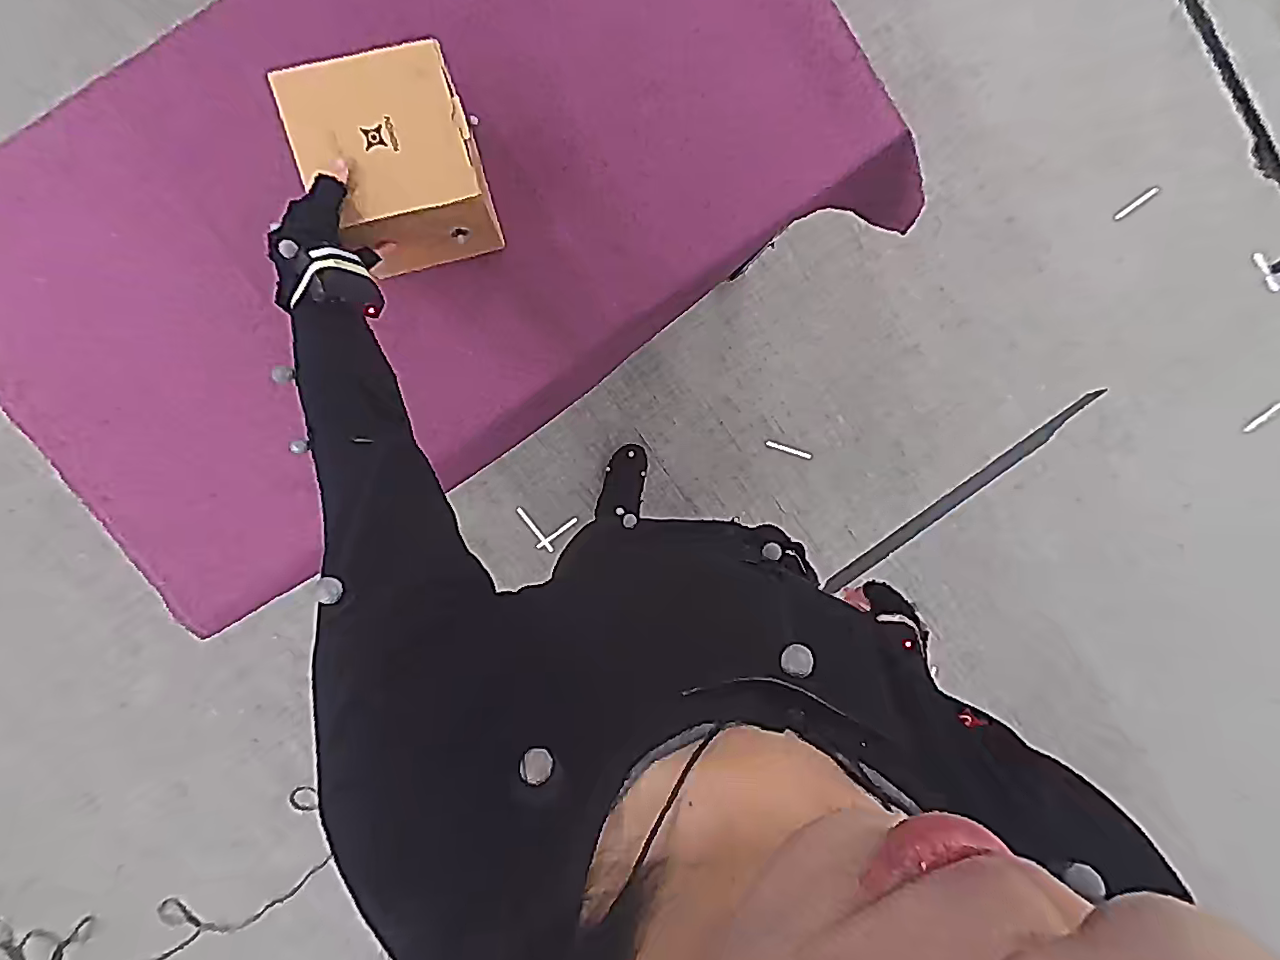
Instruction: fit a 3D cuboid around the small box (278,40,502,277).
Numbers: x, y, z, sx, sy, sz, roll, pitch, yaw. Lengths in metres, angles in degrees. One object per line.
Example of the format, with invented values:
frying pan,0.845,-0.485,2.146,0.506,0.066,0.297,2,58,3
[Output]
small box,-0.275,-0.364,0.645,0.179,0.176,0.168,-16,95,-3
